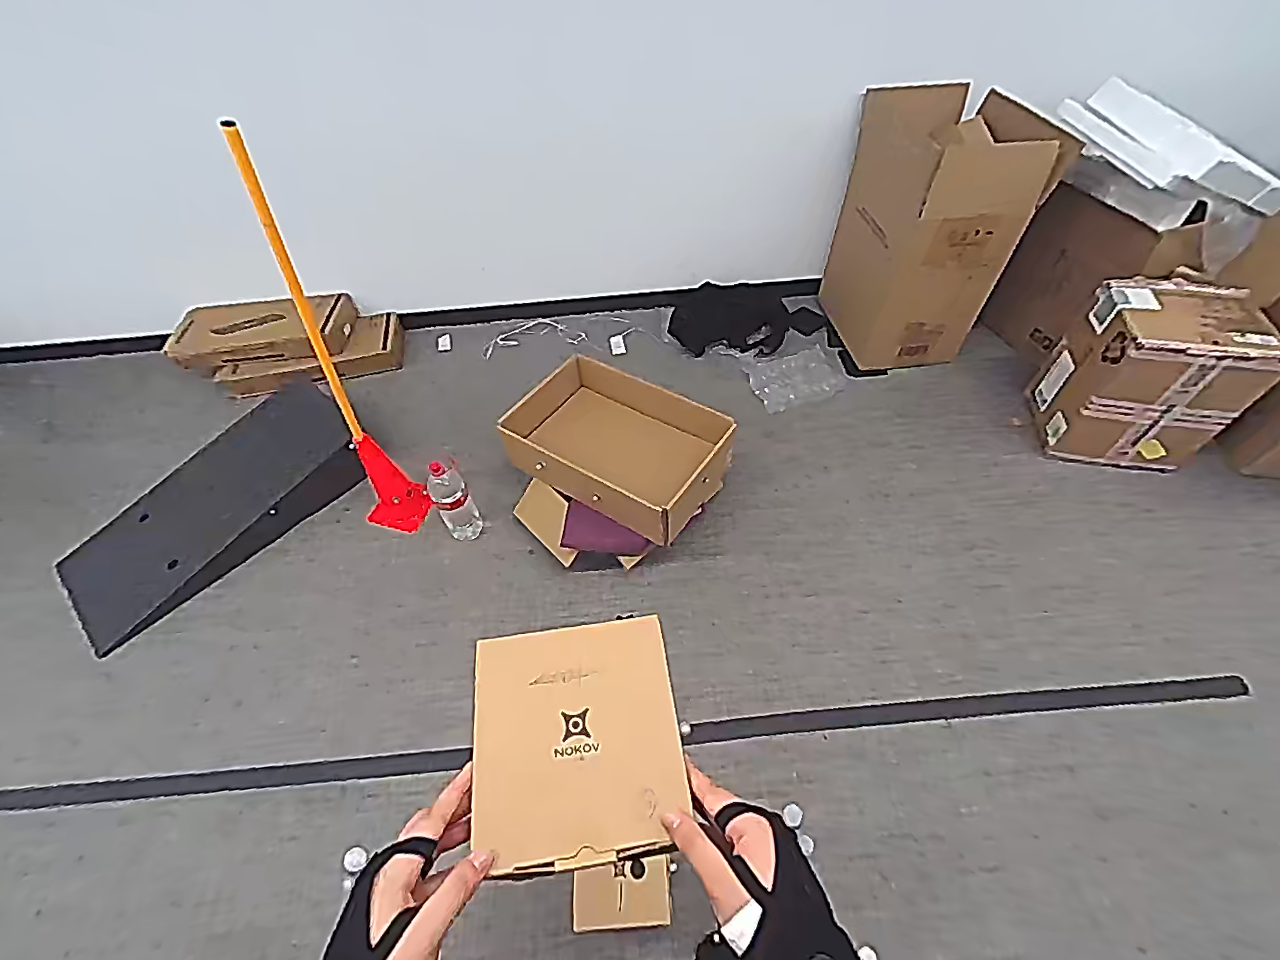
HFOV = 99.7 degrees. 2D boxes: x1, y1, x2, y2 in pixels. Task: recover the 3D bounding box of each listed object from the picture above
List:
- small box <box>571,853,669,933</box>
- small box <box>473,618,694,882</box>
[{"bbox_3d":[-0.035,0.731,1.013,0.168,0.176,0.179,-4,52,0],"label":"small box"},{"bbox_3d":[-0.050,0.252,0.502,0.168,0.176,0.179,-7,53,-6],"label":"small box"}]
